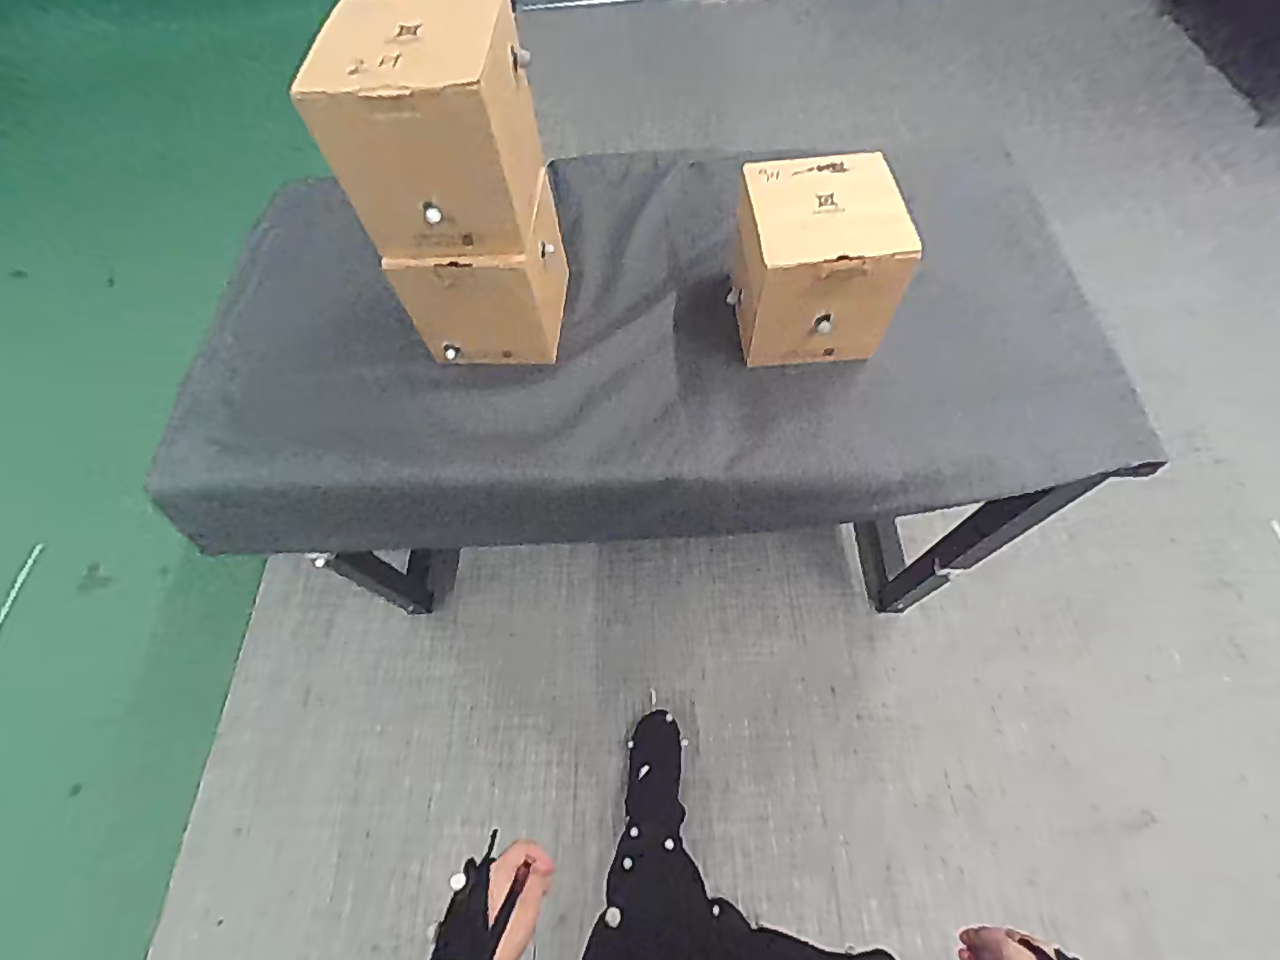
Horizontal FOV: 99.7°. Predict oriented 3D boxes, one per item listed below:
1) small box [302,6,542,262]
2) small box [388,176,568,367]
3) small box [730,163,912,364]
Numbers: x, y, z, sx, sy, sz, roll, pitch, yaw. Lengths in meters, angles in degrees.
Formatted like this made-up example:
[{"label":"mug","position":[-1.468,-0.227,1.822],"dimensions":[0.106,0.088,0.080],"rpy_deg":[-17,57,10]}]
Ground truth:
[{"label":"small box","position":[-0.206,-0.357,0.572],"dimensions":[0.168,0.176,0.179],"rpy_deg":[-1,62,4]},{"label":"small box","position":[-0.195,-0.266,0.710],"dimensions":[0.168,0.176,0.179],"rpy_deg":[1,61,4]},{"label":"small box","position":[0.210,-0.260,0.681],"dimensions":[0.168,0.176,0.179],"rpy_deg":[-4,62,2]}]
